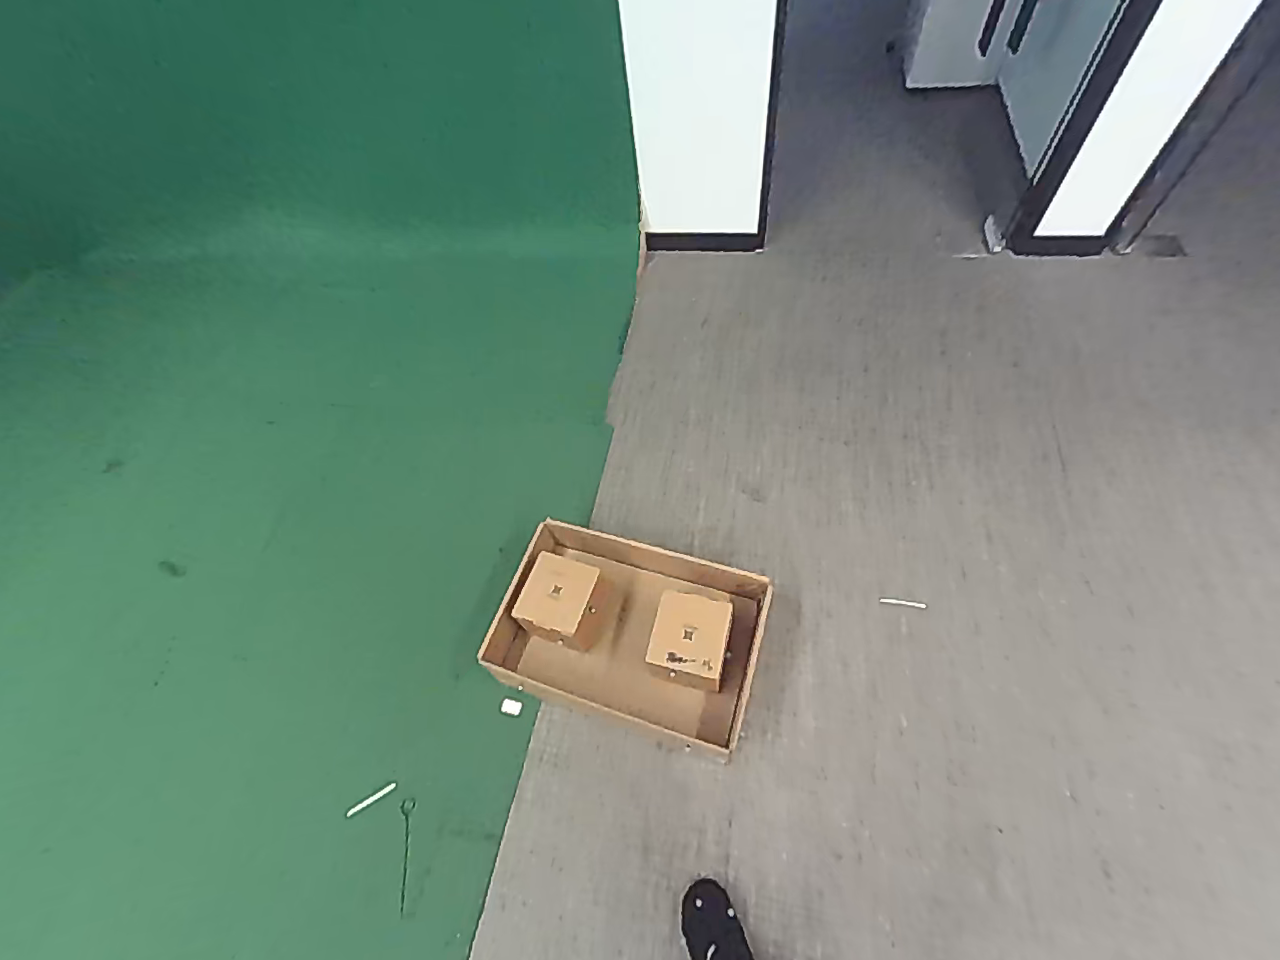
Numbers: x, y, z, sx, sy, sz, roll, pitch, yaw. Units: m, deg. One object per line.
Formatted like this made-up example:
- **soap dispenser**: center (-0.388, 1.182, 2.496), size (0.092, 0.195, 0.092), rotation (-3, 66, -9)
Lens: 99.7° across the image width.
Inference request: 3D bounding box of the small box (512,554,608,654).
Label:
- **small box**: center (-0.189, 0.317, 1.358), size (0.168, 0.176, 0.179), rotation (15, 61, 15)
